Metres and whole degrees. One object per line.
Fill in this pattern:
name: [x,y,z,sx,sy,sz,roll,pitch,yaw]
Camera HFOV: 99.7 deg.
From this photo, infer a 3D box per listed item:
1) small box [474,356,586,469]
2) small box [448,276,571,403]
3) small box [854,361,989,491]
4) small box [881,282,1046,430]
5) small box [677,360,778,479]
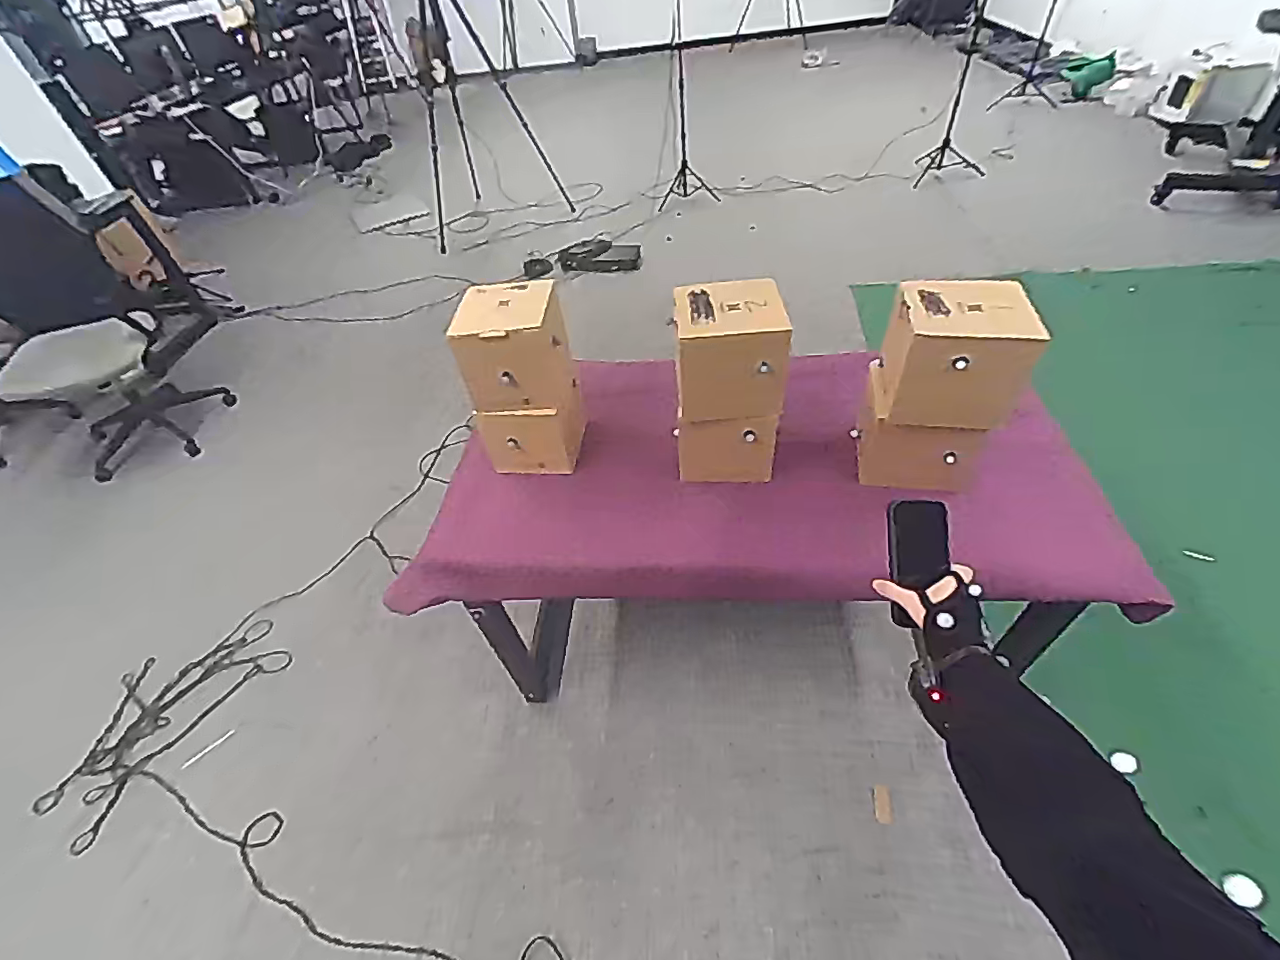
small box: [-0.216,-0.138,1.124,0.168,0.176,0.179,2,47,9]
small box: [-0.231,-0.256,1.010,0.168,0.176,0.179,-2,48,5]
small box: [0.503,-0.096,0.992,0.179,0.176,0.168,6,48,13]
small box: [0.494,-0.196,0.862,0.179,0.176,0.168,6,48,12]
small box: [0.168,-0.115,1.051,0.179,0.176,0.168,1,47,9]
